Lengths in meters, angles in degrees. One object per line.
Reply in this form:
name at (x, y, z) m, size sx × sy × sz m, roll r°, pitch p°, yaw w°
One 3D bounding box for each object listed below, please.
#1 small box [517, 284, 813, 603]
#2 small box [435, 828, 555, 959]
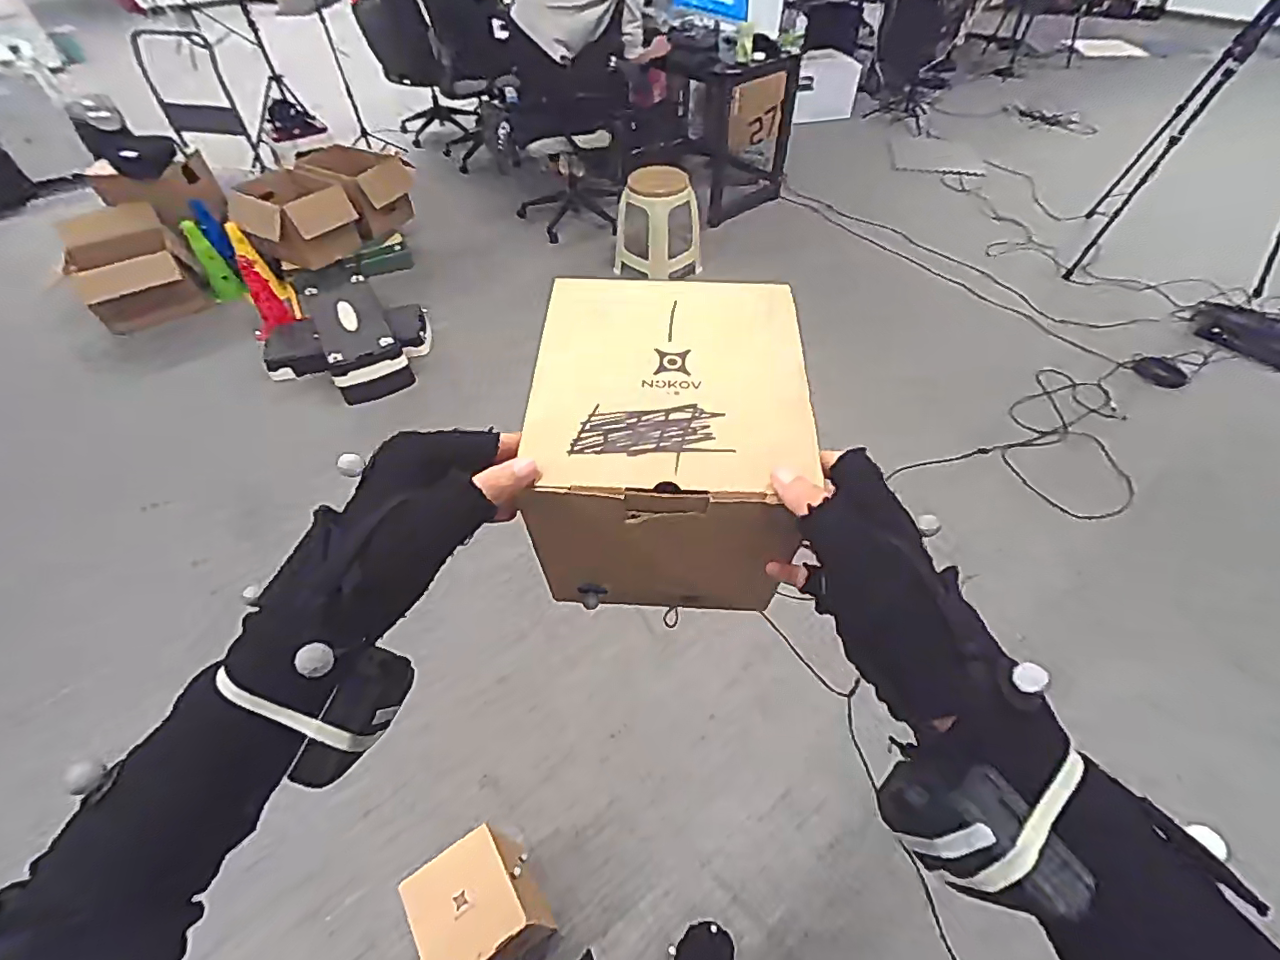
small box at (0.019, -0.020, 0.403) m, size 0.168 × 0.176 × 0.179 m, roll 3°, pitch 56°, yaw 2°
small box at (-0.292, 0.861, 1.108) m, size 0.168 × 0.176 × 0.179 m, roll -28°, pitch 55°, yaw -19°
